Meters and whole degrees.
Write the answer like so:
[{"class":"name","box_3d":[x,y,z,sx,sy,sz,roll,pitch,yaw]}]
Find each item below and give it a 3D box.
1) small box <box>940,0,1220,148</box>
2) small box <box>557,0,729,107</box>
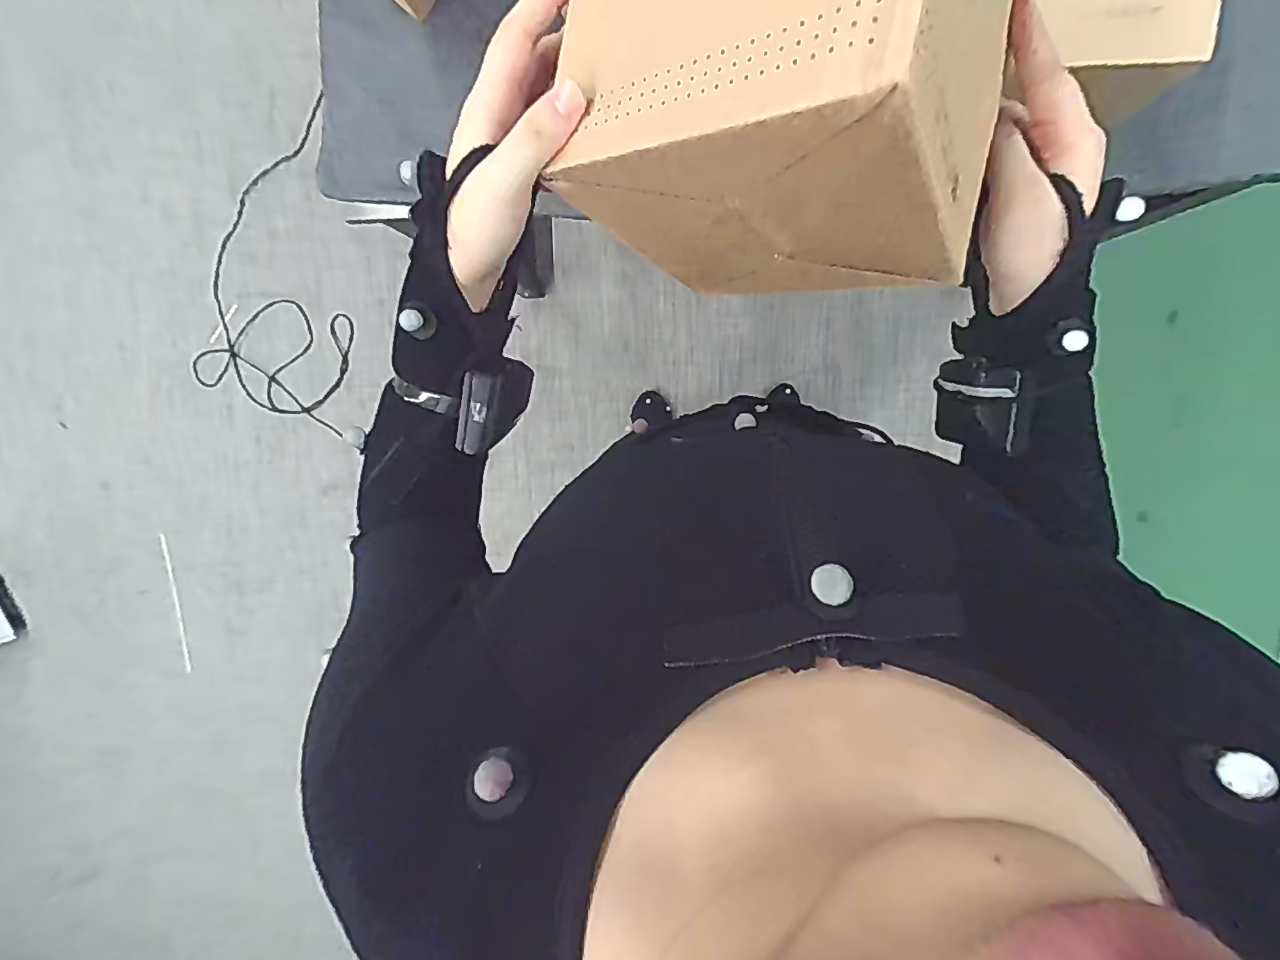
[{"class":"small box","box_3d":[0.430,-0.470,0.550,0.168,0.176,0.179,2,99,7]},{"class":"small box","box_3d":[-0.007,-0.549,0.584,0.168,0.176,0.179,-25,95,9]}]
